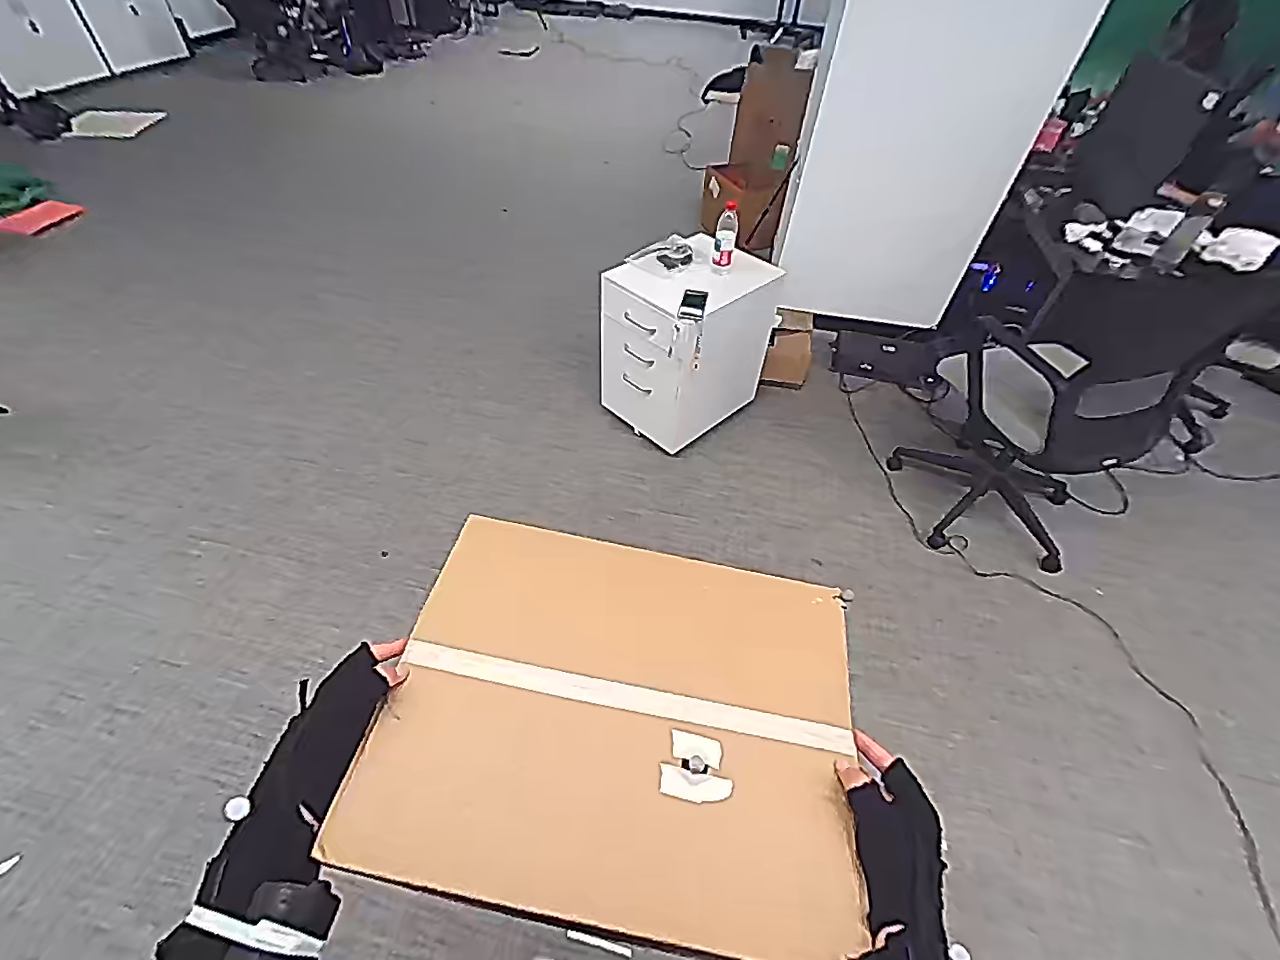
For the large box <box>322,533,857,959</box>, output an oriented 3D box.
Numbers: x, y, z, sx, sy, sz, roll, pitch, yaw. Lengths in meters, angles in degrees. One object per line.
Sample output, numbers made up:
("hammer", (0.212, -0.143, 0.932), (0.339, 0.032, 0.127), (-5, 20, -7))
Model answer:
("large box", (-0.033, 0.301, 0.596), (0.408, 0.320, 0.320), (12, 50, 2))
